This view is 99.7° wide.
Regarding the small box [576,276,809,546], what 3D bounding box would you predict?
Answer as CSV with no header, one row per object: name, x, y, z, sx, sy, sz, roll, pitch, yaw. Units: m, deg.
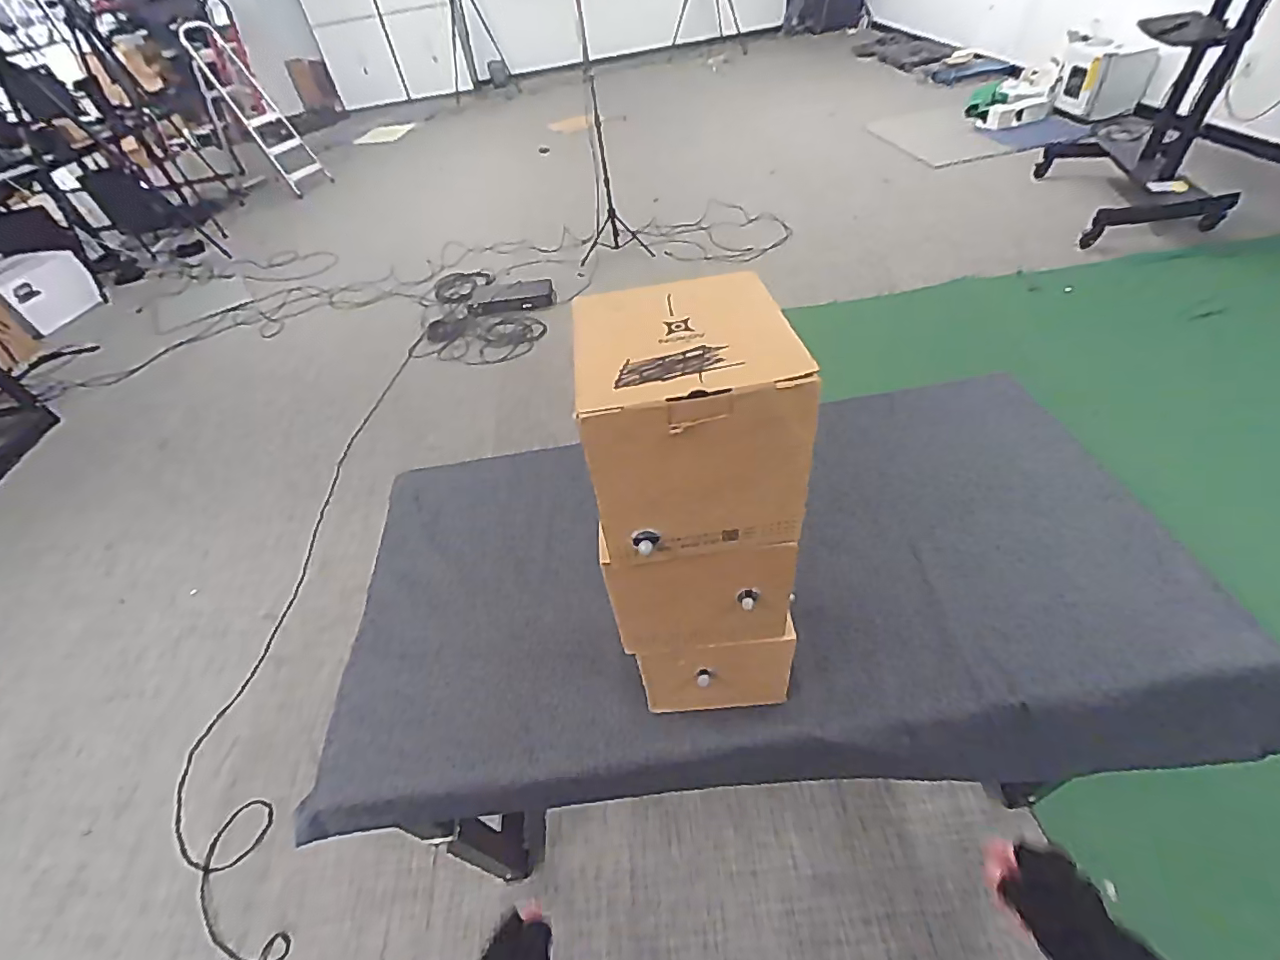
small box,0.039,-0.056,0.483,0.168,0.176,0.179,-8,43,0

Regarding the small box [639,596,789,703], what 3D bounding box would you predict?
small box,0.088,0.177,0.707,0.179,0.176,0.168,-6,45,4

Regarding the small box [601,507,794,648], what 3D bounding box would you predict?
small box,0.056,0.065,0.594,0.179,0.176,0.168,-8,43,3
